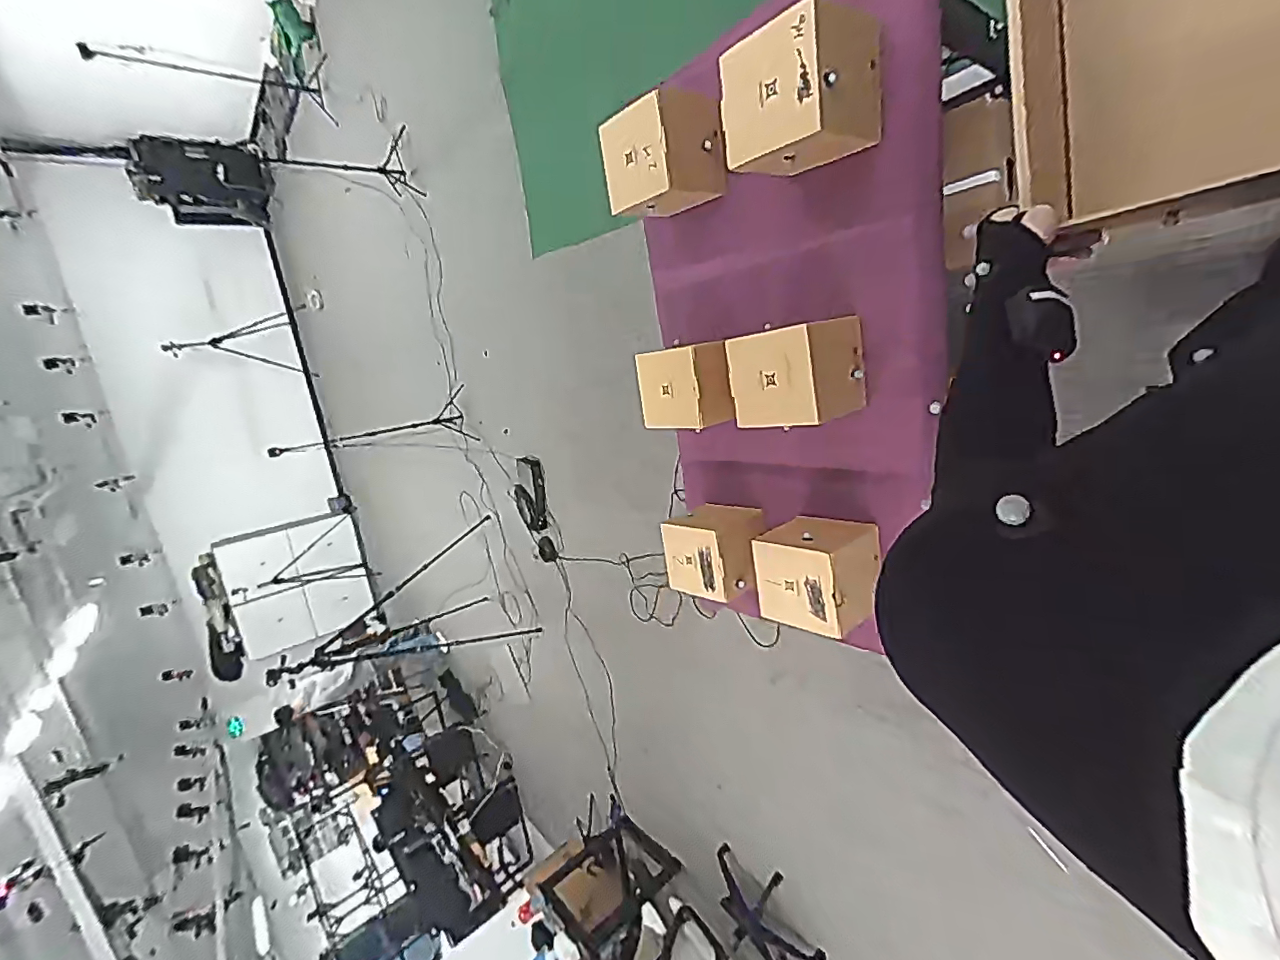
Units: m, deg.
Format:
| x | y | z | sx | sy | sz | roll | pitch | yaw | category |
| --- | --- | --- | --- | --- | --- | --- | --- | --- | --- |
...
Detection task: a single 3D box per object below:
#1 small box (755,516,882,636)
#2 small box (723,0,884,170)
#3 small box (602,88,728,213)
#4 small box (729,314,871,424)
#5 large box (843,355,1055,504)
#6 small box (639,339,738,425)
| x | y | z | sx | sy | sz | roll | pitch | yaw | category |
| --- | --- | --- | --- | --- | --- | --- | --- | --- | --- |
| 0.352 | 0.175 | 1.049 | 0.179 | 0.176 | 0.168 | 4 | 107 | 52 | small box |
| 0.255 | -0.602 | 0.847 | 0.179 | 0.176 | 0.168 | 11 | 115 | 52 | small box |
| 0.051 | -0.644 | 1.082 | 0.179 | 0.176 | 0.168 | 8 | 113 | 48 | small box |
| 0.289 | -0.198 | 0.977 | 0.179 | 0.176 | 0.168 | 4 | 108 | 51 | small box |
| 0.813 | -0.133 | 1.440 | 0.408 | 0.320 | 0.320 | 3 | 106 | 52 | large box |
| 0.123 | -0.213 | 1.178 | 0.179 | 0.176 | 0.168 | 6 | 108 | 49 | small box |
